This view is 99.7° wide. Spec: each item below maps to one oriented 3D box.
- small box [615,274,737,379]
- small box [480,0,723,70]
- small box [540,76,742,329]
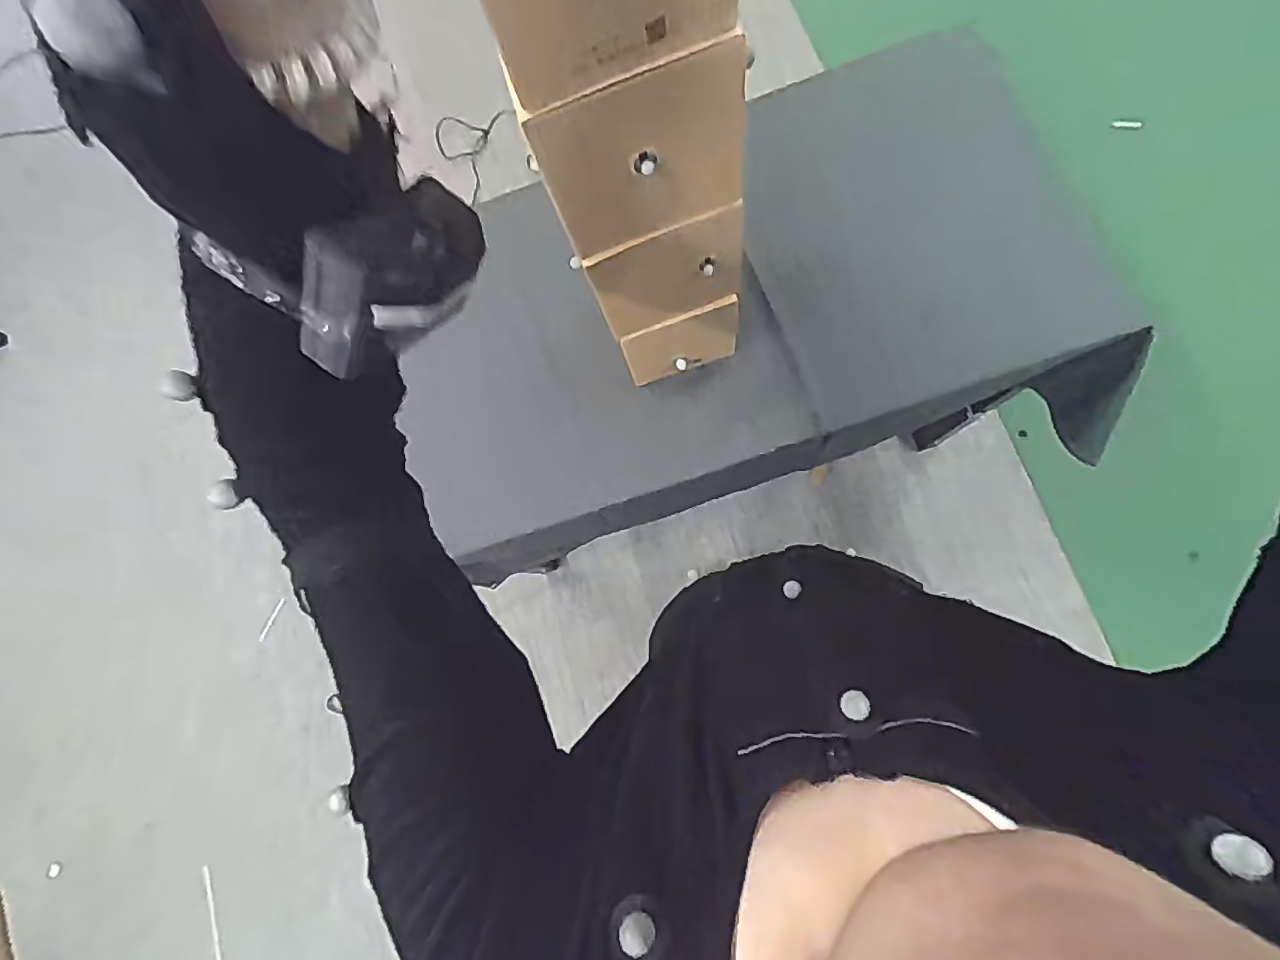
[{"bbox_3d":[0.034,-0.276,0.793,0.168,0.176,0.179,-18,77,5],"label":"small box"},{"bbox_3d":[-0.047,-0.396,0.325,0.168,0.176,0.179,-19,76,4],"label":"small box"},{"bbox_3d":[0.007,-0.309,0.636,0.179,0.176,0.168,-20,75,4],"label":"small box"}]
